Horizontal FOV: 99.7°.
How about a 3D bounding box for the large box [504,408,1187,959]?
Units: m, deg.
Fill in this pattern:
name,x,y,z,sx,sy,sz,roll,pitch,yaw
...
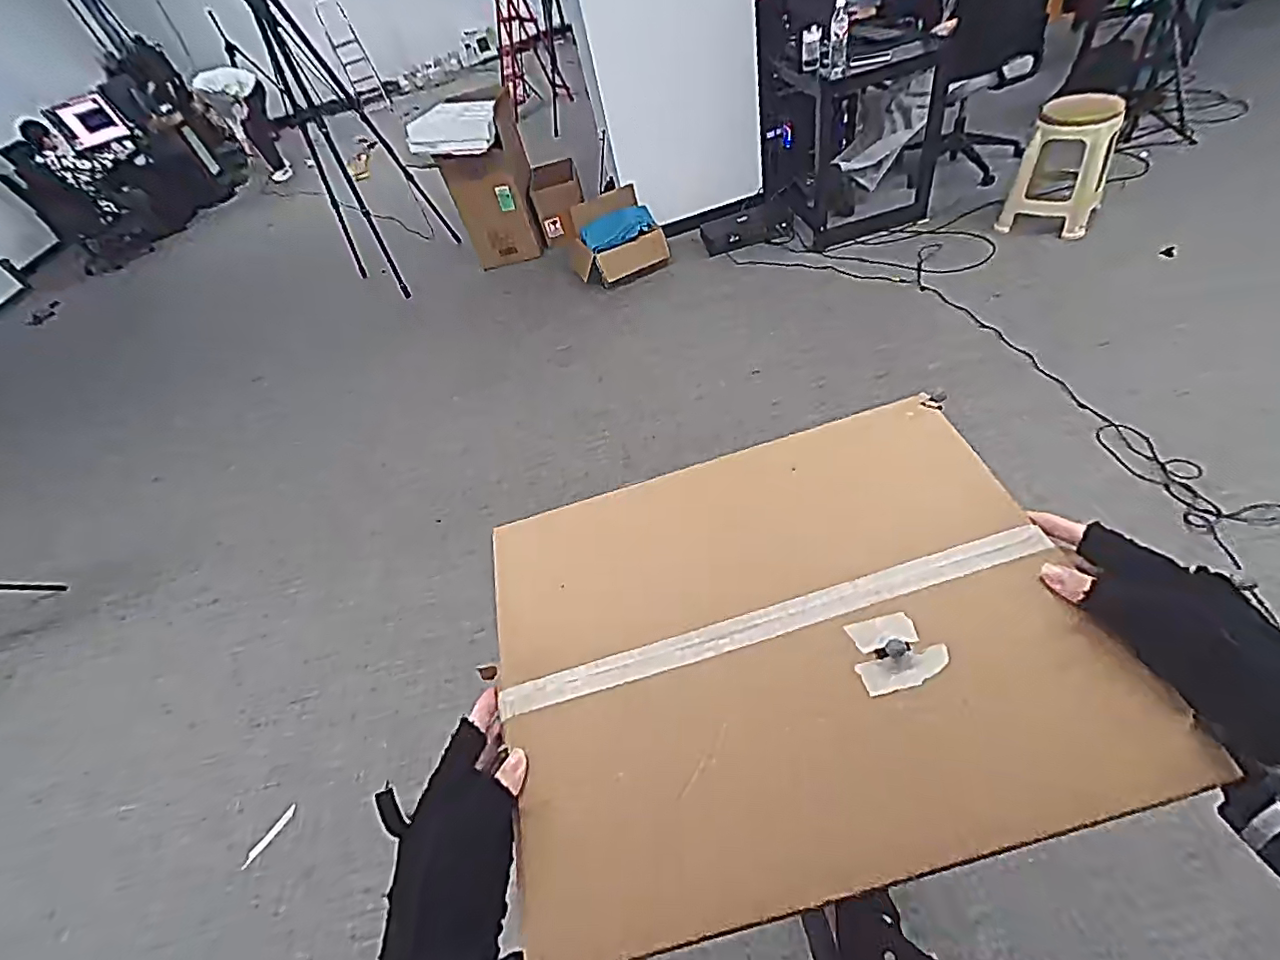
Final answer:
name,x,y,z,sx,sy,sz,roll,pitch,yaw
large box,0.125,0.194,0.522,0.408,0.320,0.320,-17,53,0
